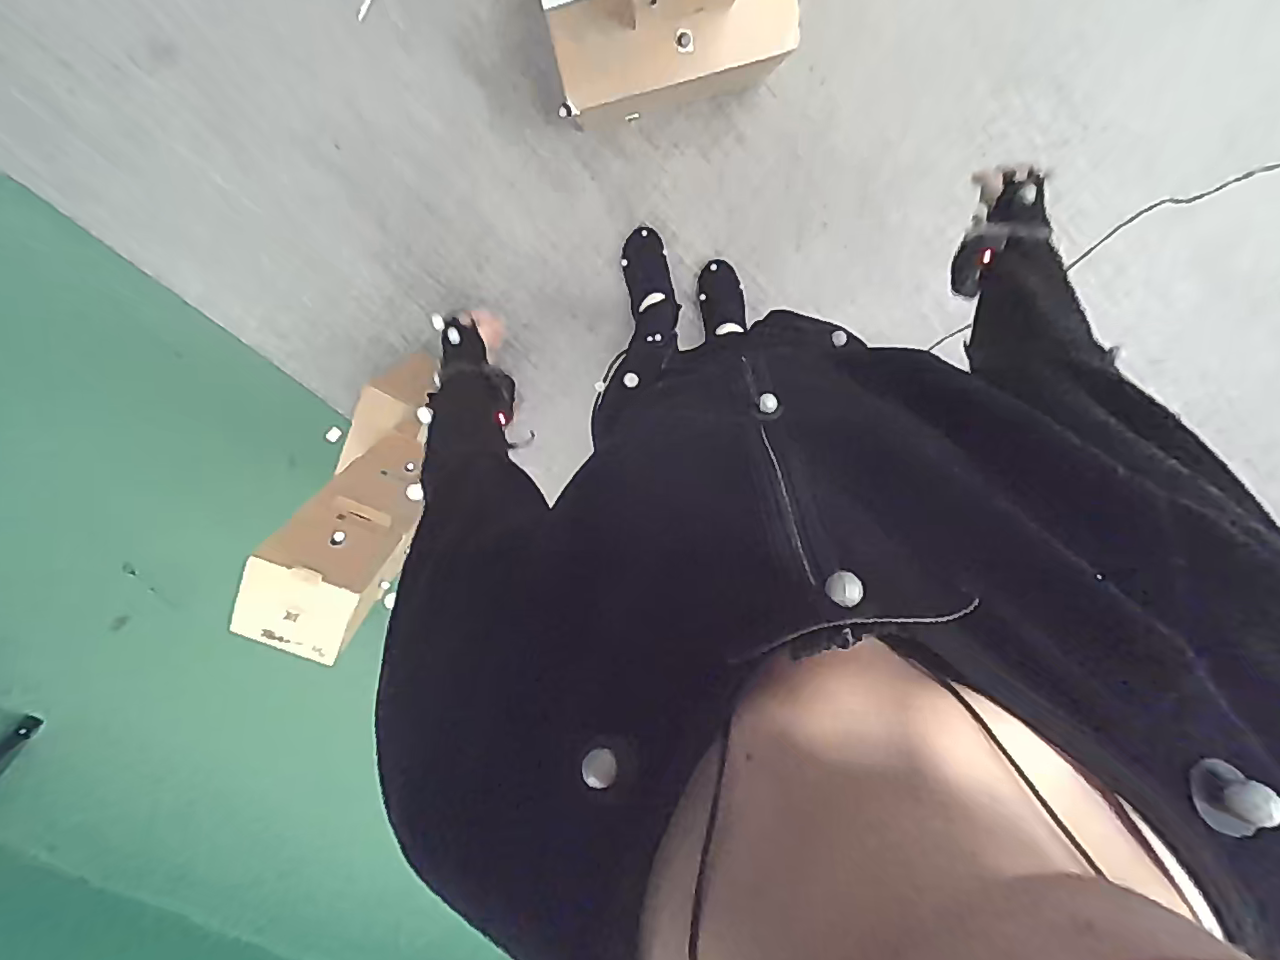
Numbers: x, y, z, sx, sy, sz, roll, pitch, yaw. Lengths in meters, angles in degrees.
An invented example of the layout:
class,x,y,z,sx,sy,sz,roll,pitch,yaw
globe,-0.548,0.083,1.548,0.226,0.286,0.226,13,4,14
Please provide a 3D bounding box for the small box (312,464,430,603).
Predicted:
class,x,y,z,sx,sy,sz,roll,pitch,yaw
small box,-0.528,0.096,1.046,0.168,0.176,0.179,26,115,-12

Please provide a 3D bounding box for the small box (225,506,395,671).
class,x,y,z,sx,sy,sz,roll,pitch,yaw
small box,-0.534,0.172,0.899,0.168,0.176,0.179,27,113,-12

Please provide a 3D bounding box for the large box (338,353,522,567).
class,x,y,z,sx,sy,sz,roll,pitch,yaw
large box,-0.551,-0.058,1.425,0.320,0.320,0.408,27,116,-11

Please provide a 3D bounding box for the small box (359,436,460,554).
class,x,y,z,sx,sy,sz,roll,pitch,yaw
small box,-0.524,0.026,1.193,0.179,0.176,0.168,28,114,-12
